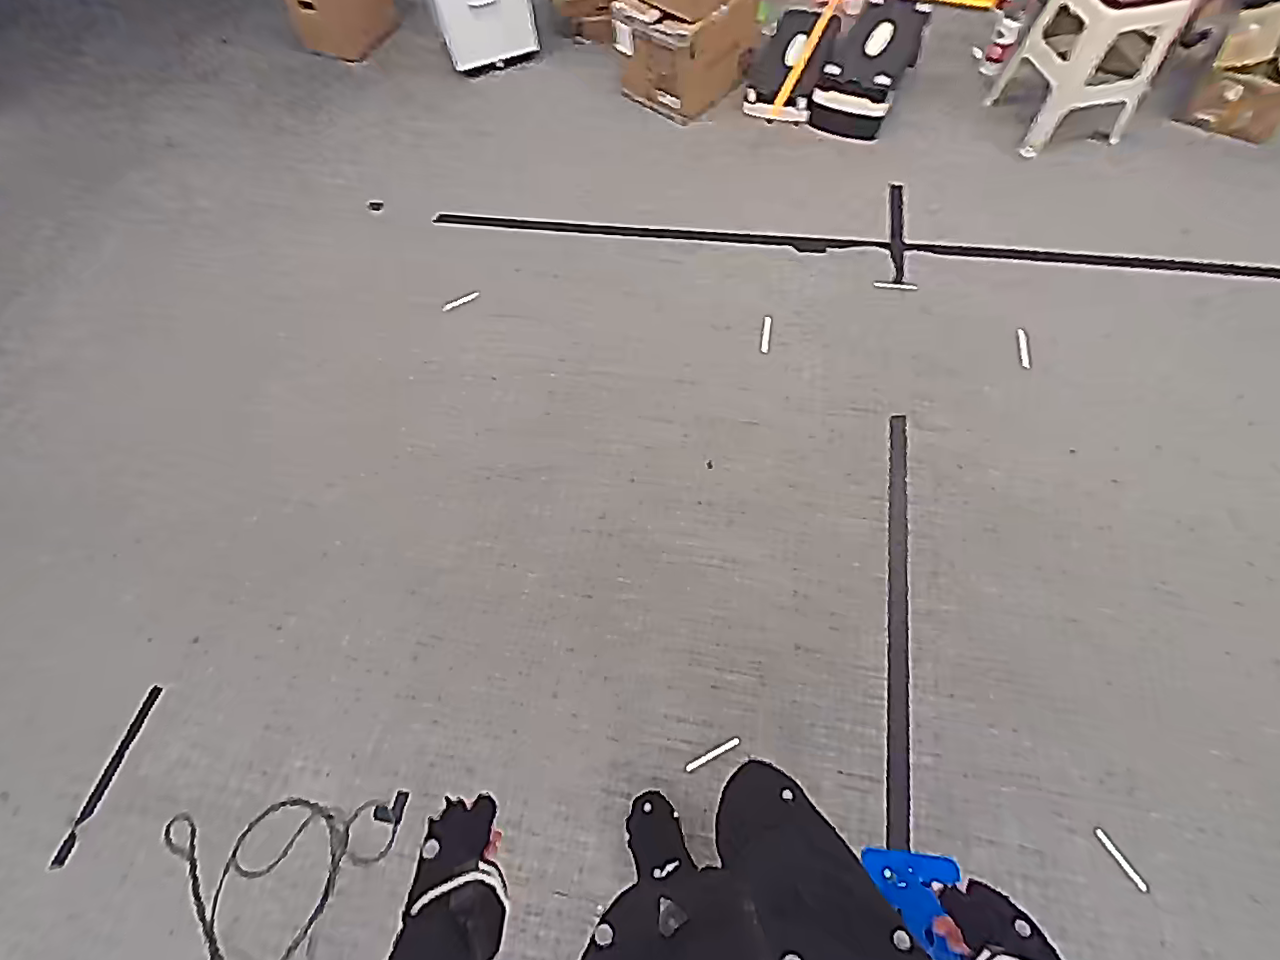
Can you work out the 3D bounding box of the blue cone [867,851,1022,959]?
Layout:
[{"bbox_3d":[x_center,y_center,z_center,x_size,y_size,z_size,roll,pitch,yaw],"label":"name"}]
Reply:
[{"bbox_3d":[0.558,0.807,0.960,0.192,0.380,0.193,5,65,5],"label":"blue cone"}]
